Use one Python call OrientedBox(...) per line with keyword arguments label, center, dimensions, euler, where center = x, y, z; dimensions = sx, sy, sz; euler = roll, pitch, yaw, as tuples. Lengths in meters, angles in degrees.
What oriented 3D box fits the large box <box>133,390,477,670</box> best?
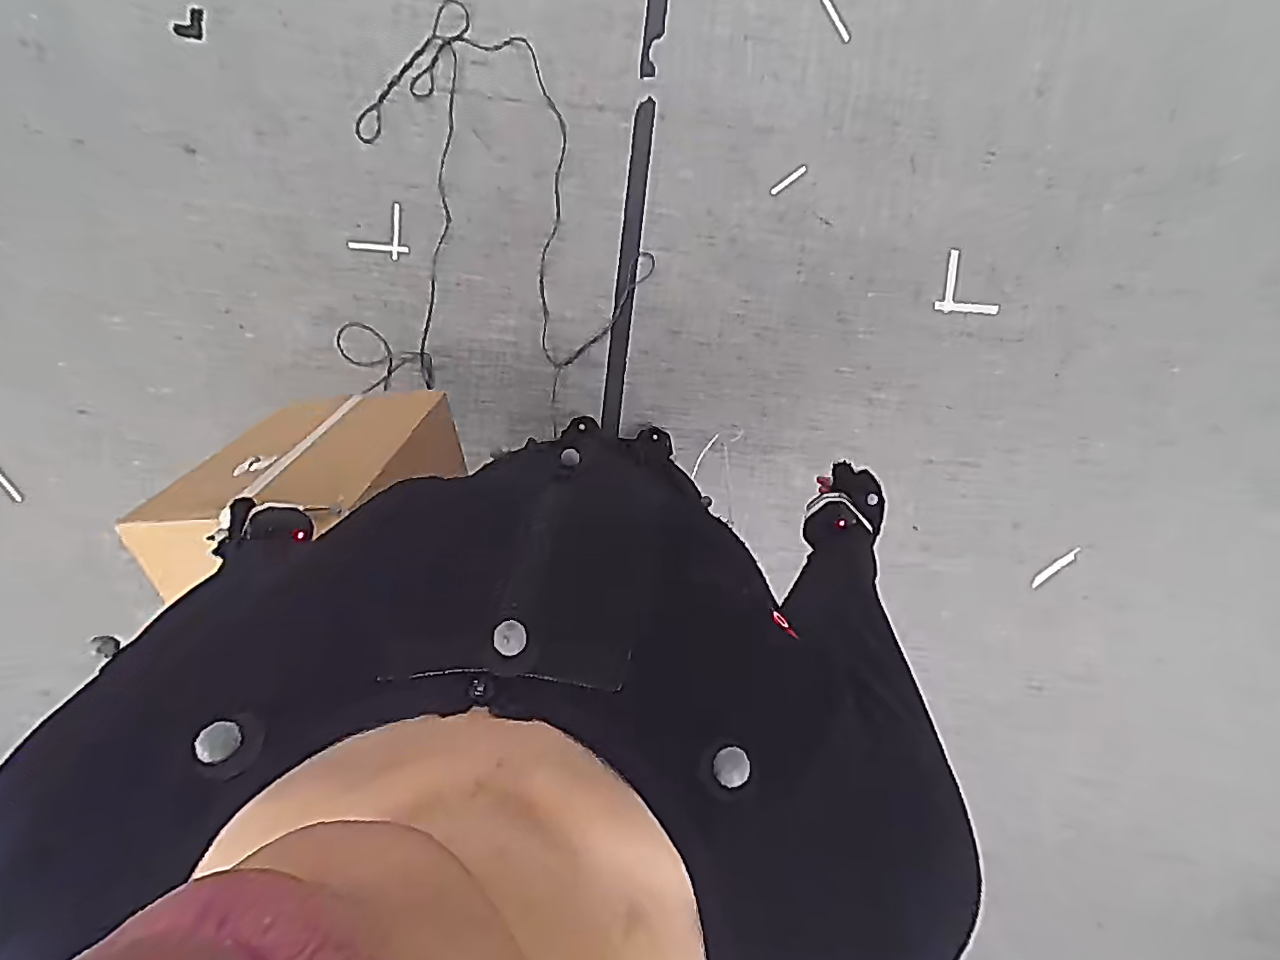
OrientedBox(label="large box", center=(-0.511, 0.067, 0.951), dimensions=(0.320, 0.408, 0.320), euler=(-4, 122, 3))
